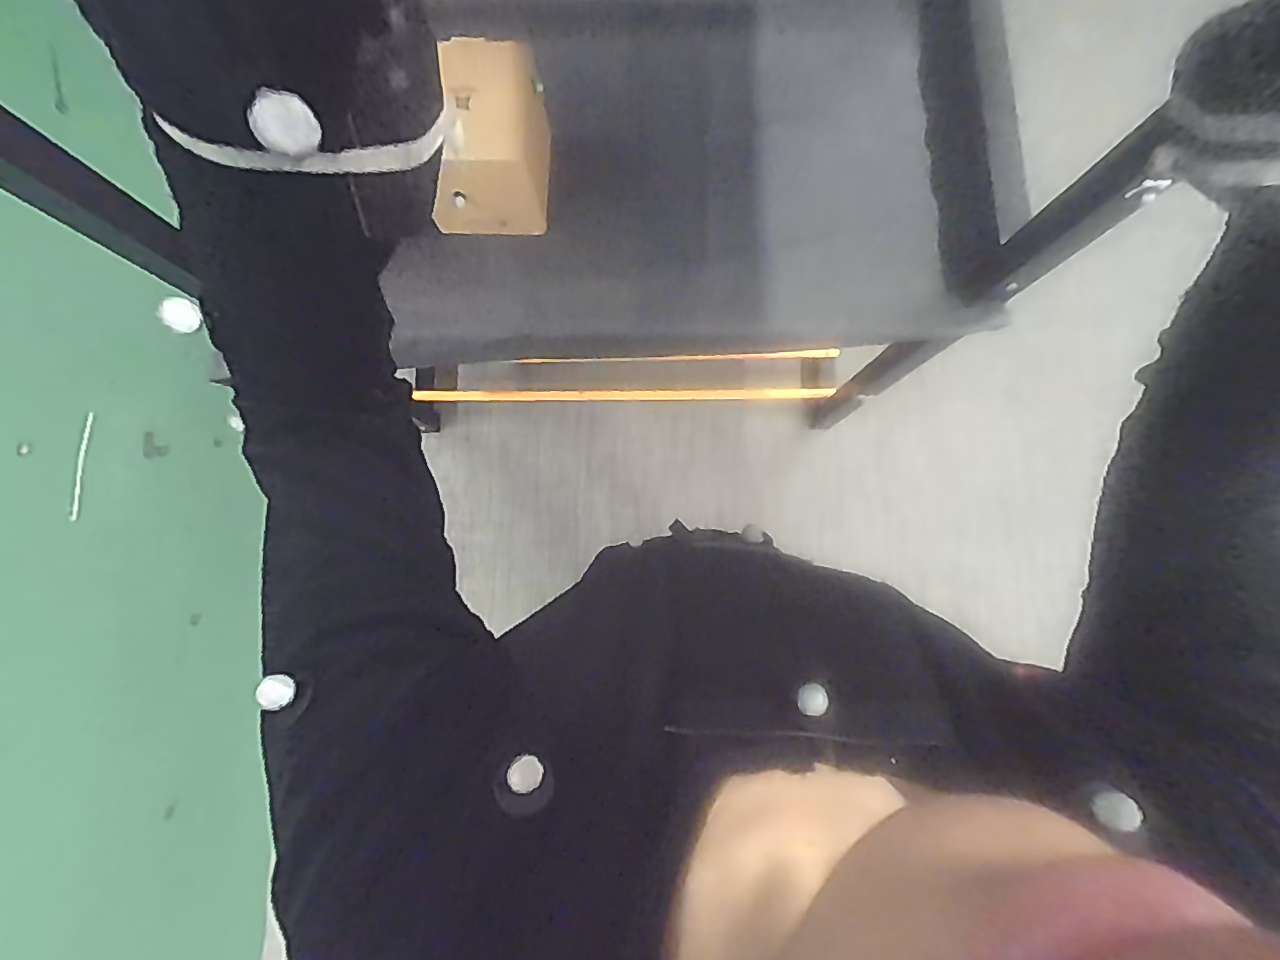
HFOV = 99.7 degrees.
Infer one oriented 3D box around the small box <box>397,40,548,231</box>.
[{"bbox_3d":[-0.230,-0.487,0.785,0.168,0.176,0.179,1,81,0],"label":"small box"}]
